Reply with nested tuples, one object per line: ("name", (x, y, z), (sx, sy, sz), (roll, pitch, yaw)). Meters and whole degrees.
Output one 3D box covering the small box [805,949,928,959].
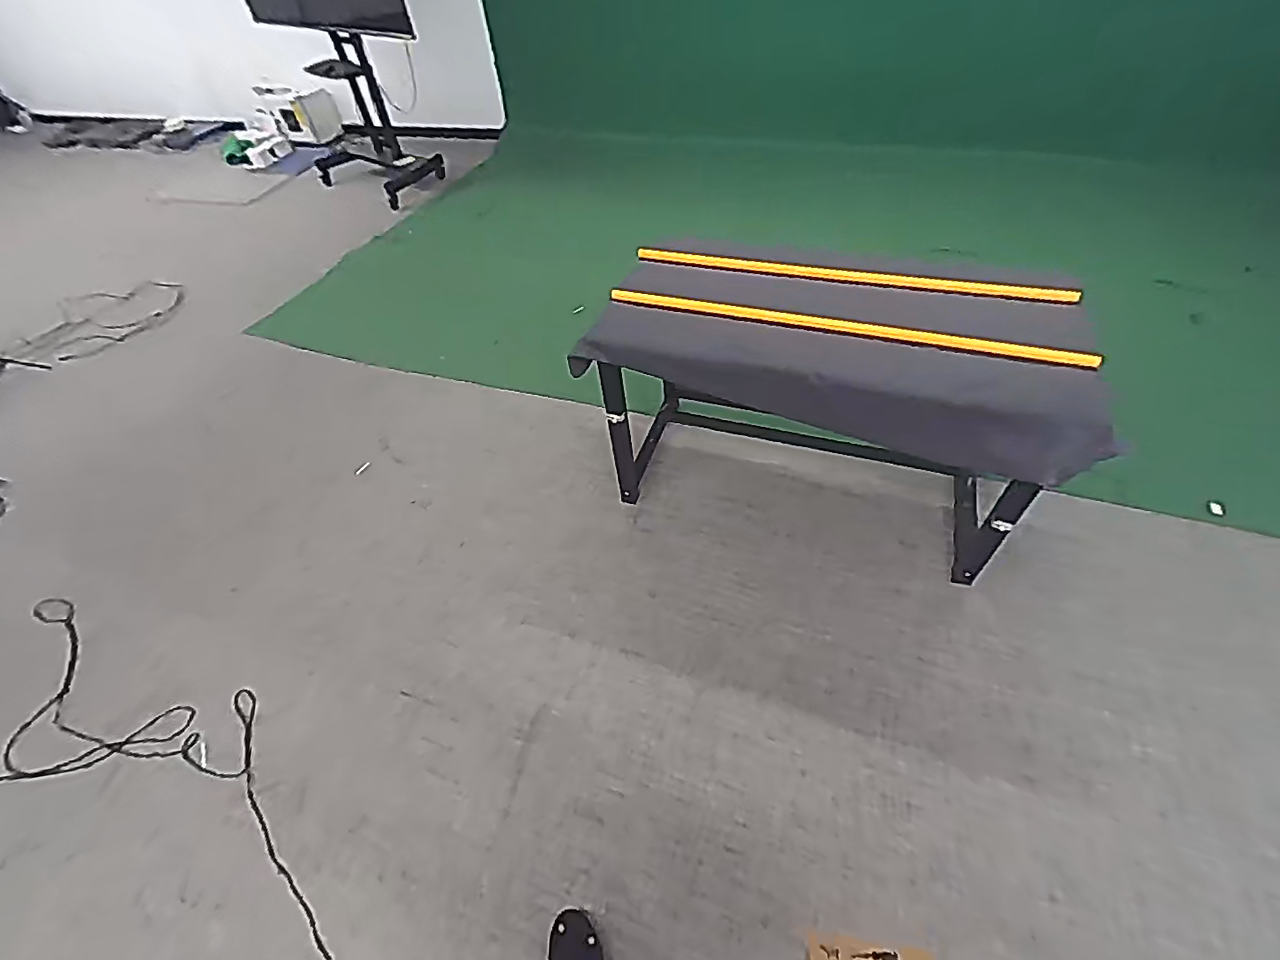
("small box", (0.299, 0.722, 0.647), (0.168, 0.179, 0.176), (-1, 87, 6))
